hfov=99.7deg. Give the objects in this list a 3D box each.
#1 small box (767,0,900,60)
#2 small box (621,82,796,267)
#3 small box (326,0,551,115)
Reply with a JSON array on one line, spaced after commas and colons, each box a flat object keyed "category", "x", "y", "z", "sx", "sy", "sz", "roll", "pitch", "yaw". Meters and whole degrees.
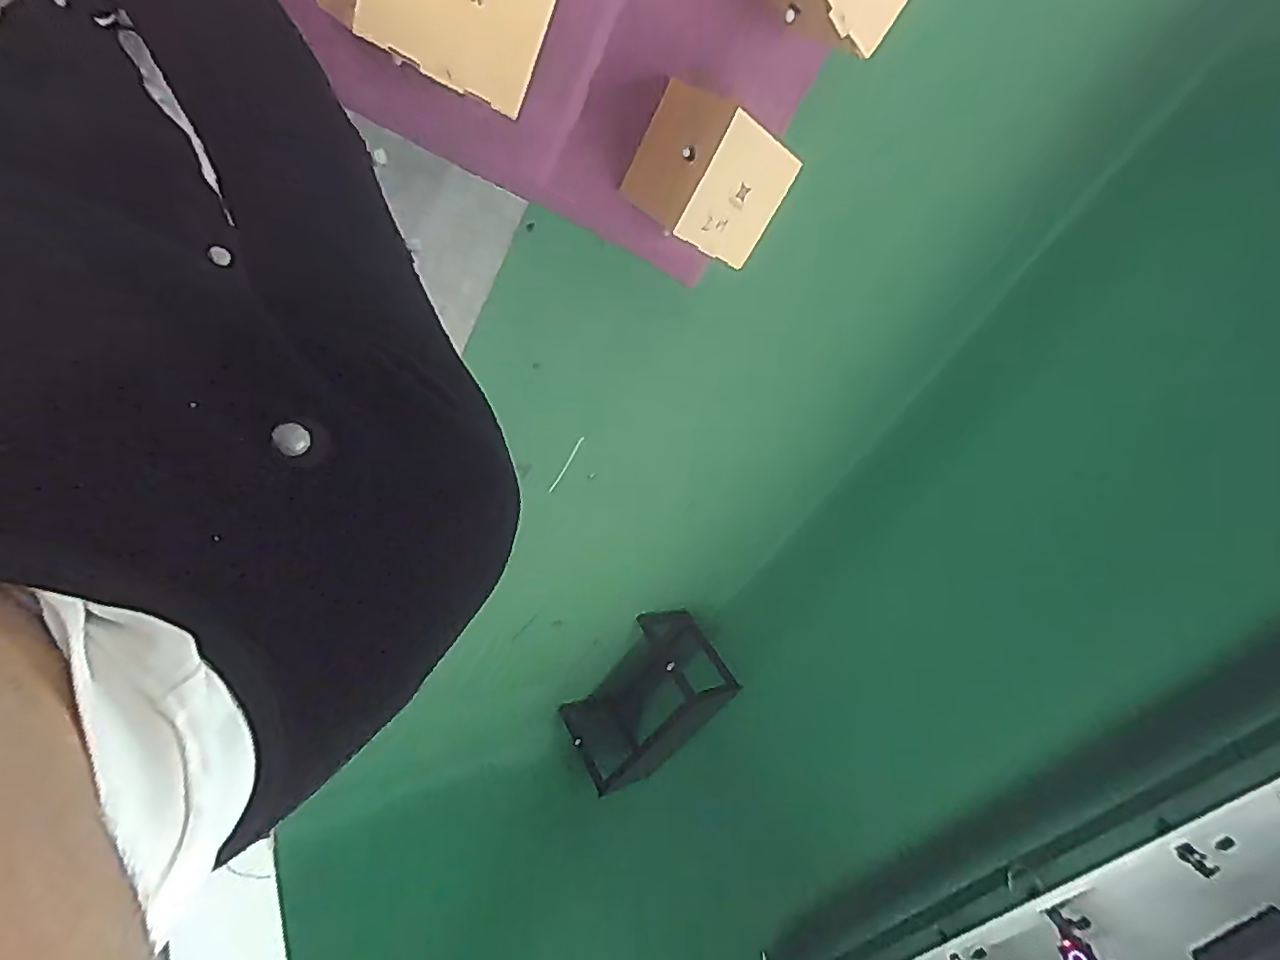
[{"category": "small box", "x": 0.254, "y": -0.708, "z": 0.701, "sx": 0.168, "sy": 0.176, "sz": 0.179, "roll": 6, "pitch": 131, "yaw": -46}, {"category": "small box", "x": 0.097, "y": -0.471, "z": 0.839, "sx": 0.168, "sy": 0.176, "sz": 0.179, "roll": 5, "pitch": 127, "yaw": -44}, {"category": "small box", "x": -0.197, "y": -0.509, "z": 0.527, "sx": 0.168, "sy": 0.176, "sz": 0.179, "roll": 1, "pitch": 130, "yaw": -44}]
